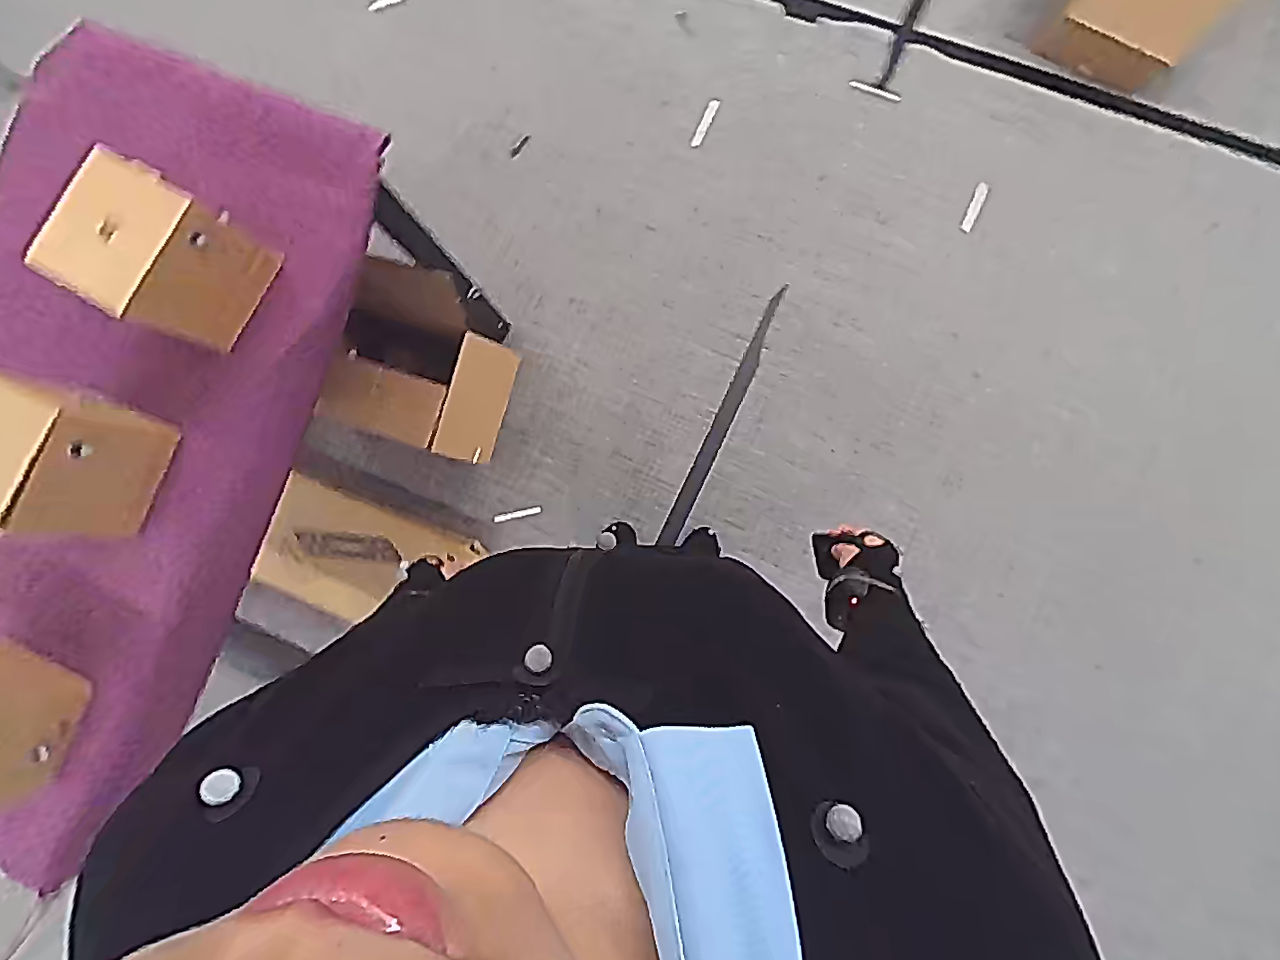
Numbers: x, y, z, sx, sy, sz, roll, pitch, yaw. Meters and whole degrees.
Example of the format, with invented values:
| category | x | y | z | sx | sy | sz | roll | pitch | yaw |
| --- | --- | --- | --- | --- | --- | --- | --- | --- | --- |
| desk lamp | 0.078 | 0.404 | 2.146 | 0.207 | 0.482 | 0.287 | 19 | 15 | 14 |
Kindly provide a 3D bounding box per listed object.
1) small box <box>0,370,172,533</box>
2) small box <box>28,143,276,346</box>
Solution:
| category | x | y | z | sx | sy | sz | roll | pitch | yaw |
| --- | --- | --- | --- | --- | --- | --- | --- | --- | --- |
| small box | -0.819 | -0.036 | 0.756 | 0.168 | 0.176 | 0.179 | 22 | 87 | 8 |
| small box | -0.674 | -0.320 | 0.771 | 0.168 | 0.176 | 0.179 | 30 | 88 | 6 |
